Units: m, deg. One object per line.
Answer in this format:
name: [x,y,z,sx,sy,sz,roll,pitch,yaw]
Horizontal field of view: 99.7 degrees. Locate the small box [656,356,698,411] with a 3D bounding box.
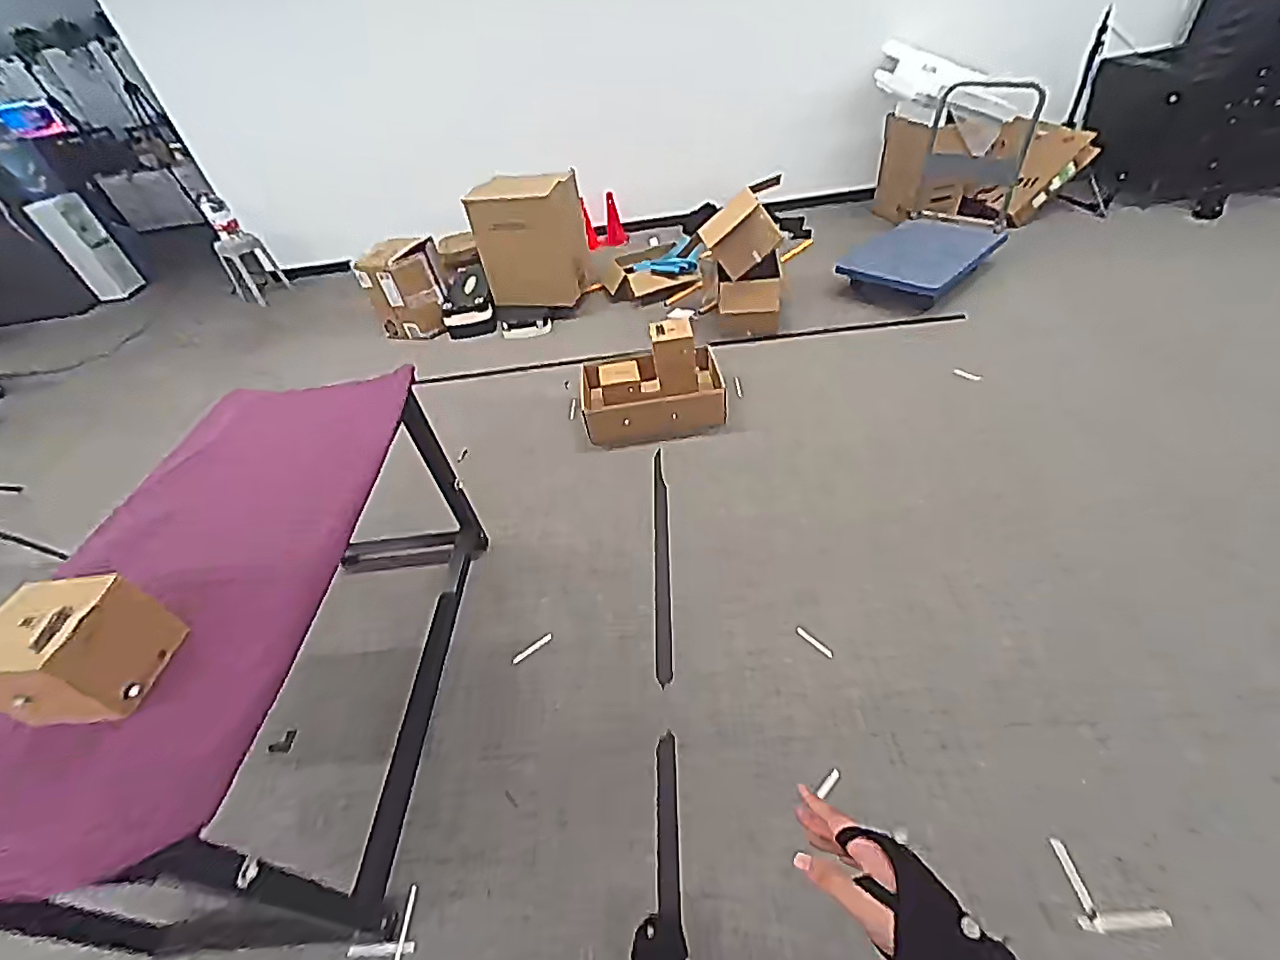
small box: [0.168,-0.437,2.459,0.168,0.176,0.179,-10,42,2]

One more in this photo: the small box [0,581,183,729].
small box: [-0.913,0.285,0.877,0.179,0.176,0.168,-6,42,4]

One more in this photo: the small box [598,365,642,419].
small box: [-0.088,-0.398,2.462,0.179,0.176,0.168,-9,41,-1]
